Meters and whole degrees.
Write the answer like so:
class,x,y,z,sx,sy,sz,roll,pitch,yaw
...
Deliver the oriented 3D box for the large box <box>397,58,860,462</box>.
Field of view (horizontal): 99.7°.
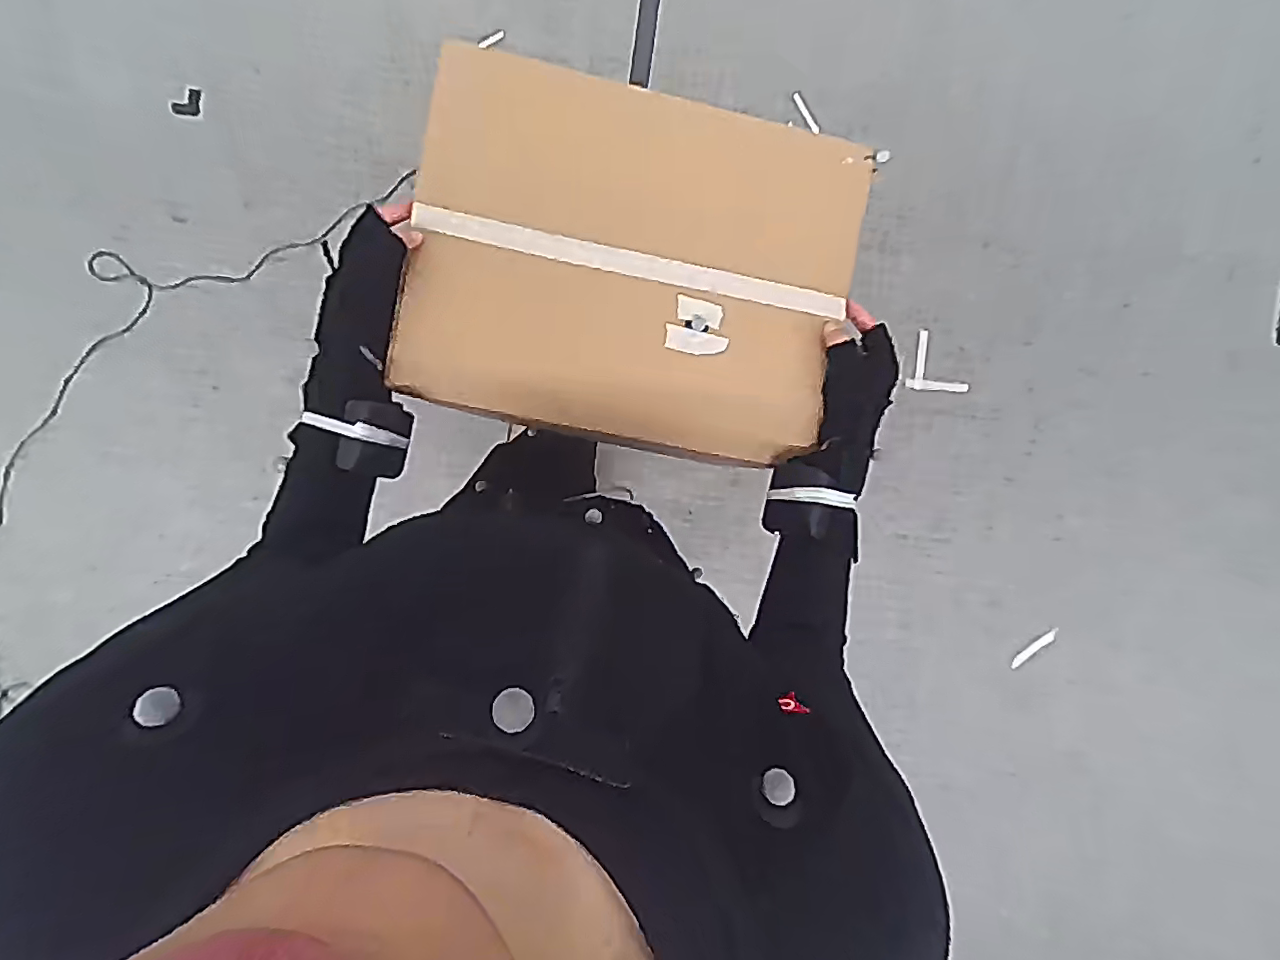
class,x,y,z,sx,sy,sz,roll,pitch,yaw
large box,-0.021,-0.206,0.658,0.408,0.320,0.320,11,93,-6
